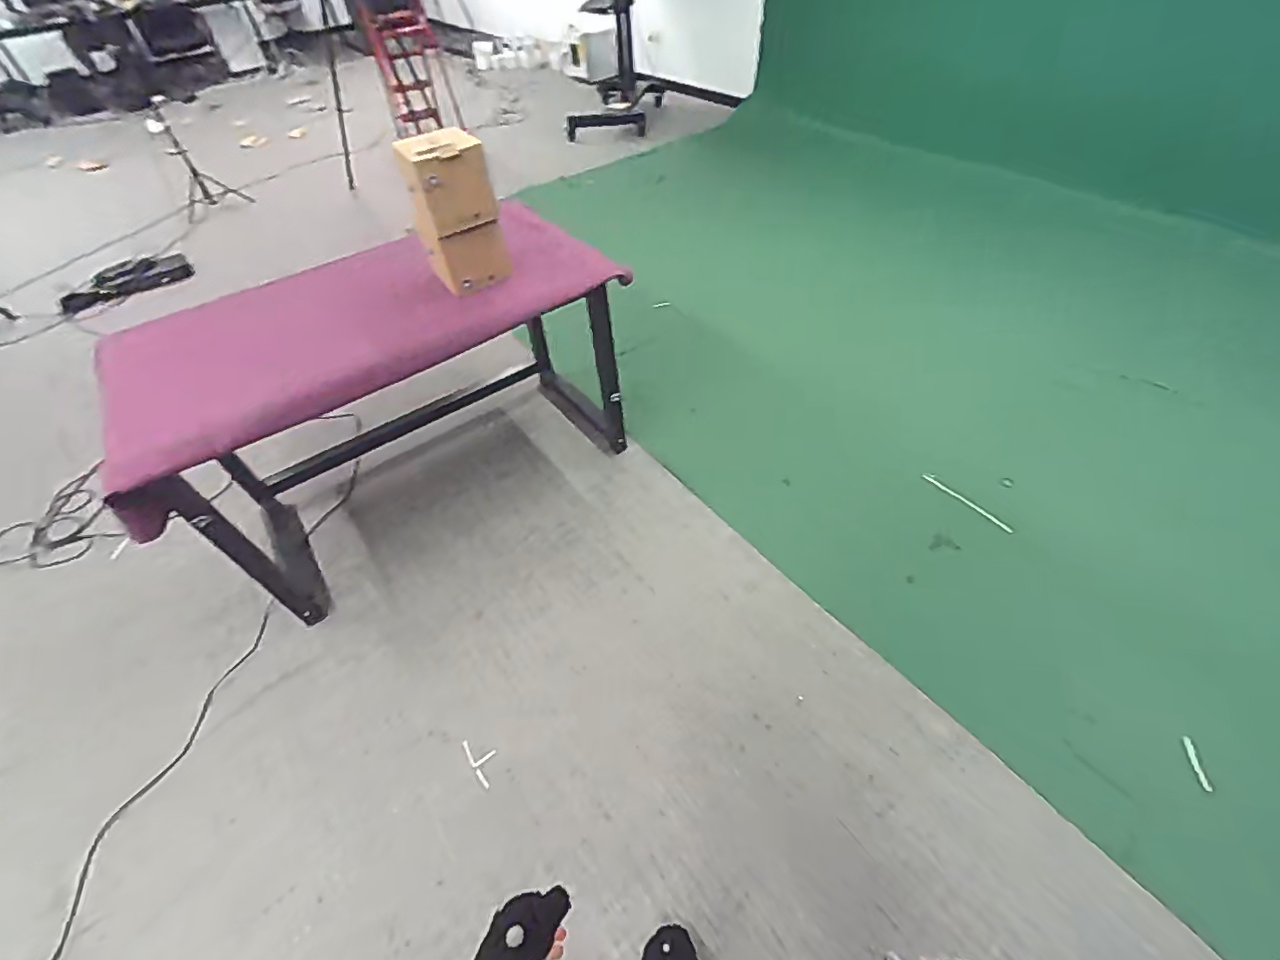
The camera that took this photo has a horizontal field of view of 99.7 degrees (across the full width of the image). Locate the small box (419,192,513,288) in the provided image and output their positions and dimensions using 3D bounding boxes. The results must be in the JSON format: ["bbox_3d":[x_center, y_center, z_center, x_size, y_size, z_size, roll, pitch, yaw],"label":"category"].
[{"bbox_3d":[-0.455,-0.631,1.432,0.168,0.176,0.179,-26,53,-19],"label":"small box"}]
